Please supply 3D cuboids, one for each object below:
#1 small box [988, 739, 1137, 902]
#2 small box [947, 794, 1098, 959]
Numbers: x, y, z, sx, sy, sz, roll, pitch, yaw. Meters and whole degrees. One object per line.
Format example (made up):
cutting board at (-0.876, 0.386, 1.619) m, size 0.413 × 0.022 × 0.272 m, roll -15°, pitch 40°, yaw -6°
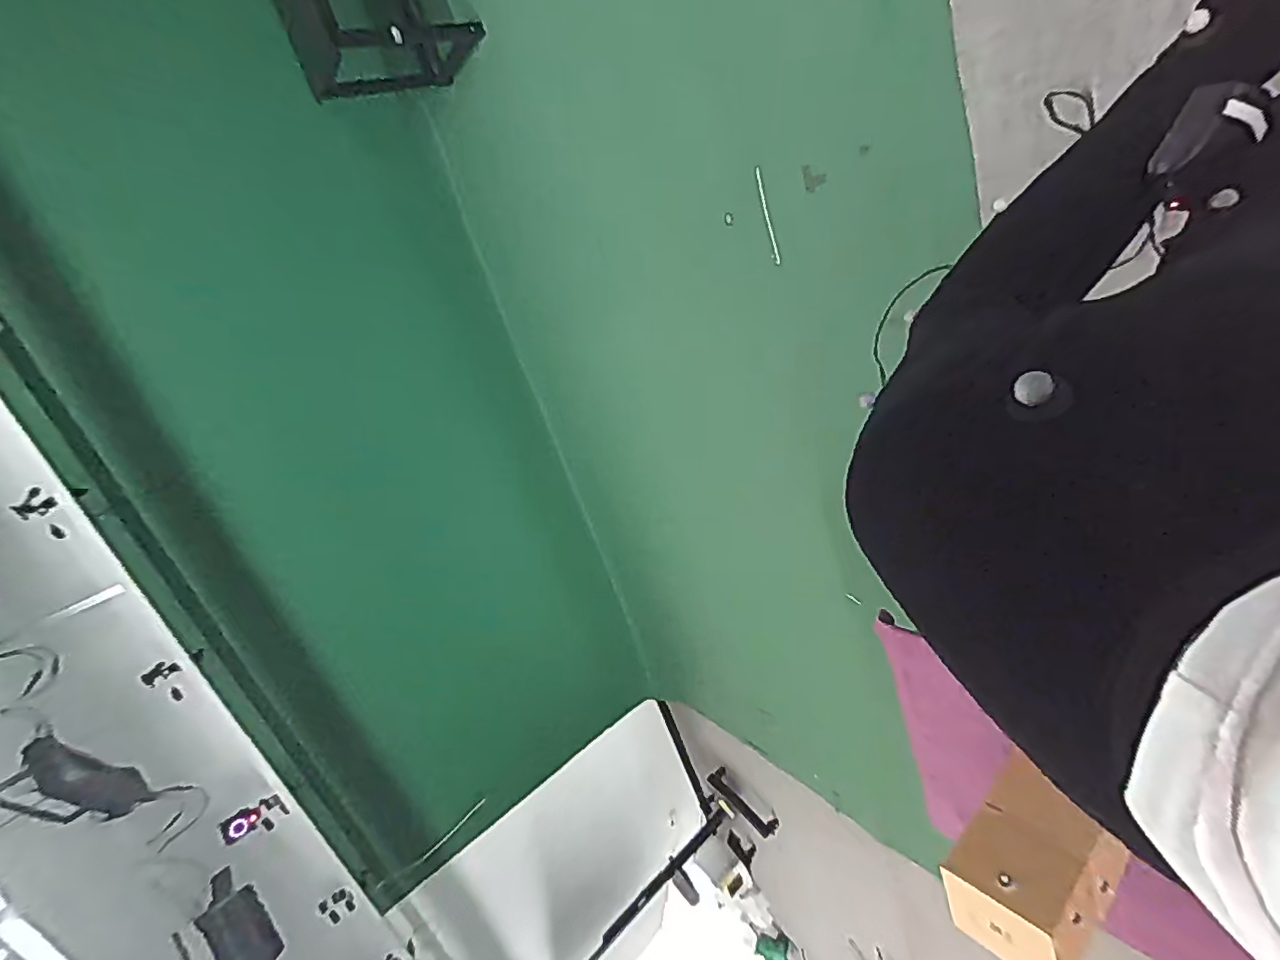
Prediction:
small box at (0.819, 0.642, 1.050) m, size 0.179 × 0.176 × 0.168 m, roll 6°, pitch 123°, yaw 57°
small box at (0.694, 0.716, 0.976) m, size 0.179 × 0.176 × 0.168 m, roll 8°, pitch 123°, yaw 56°
